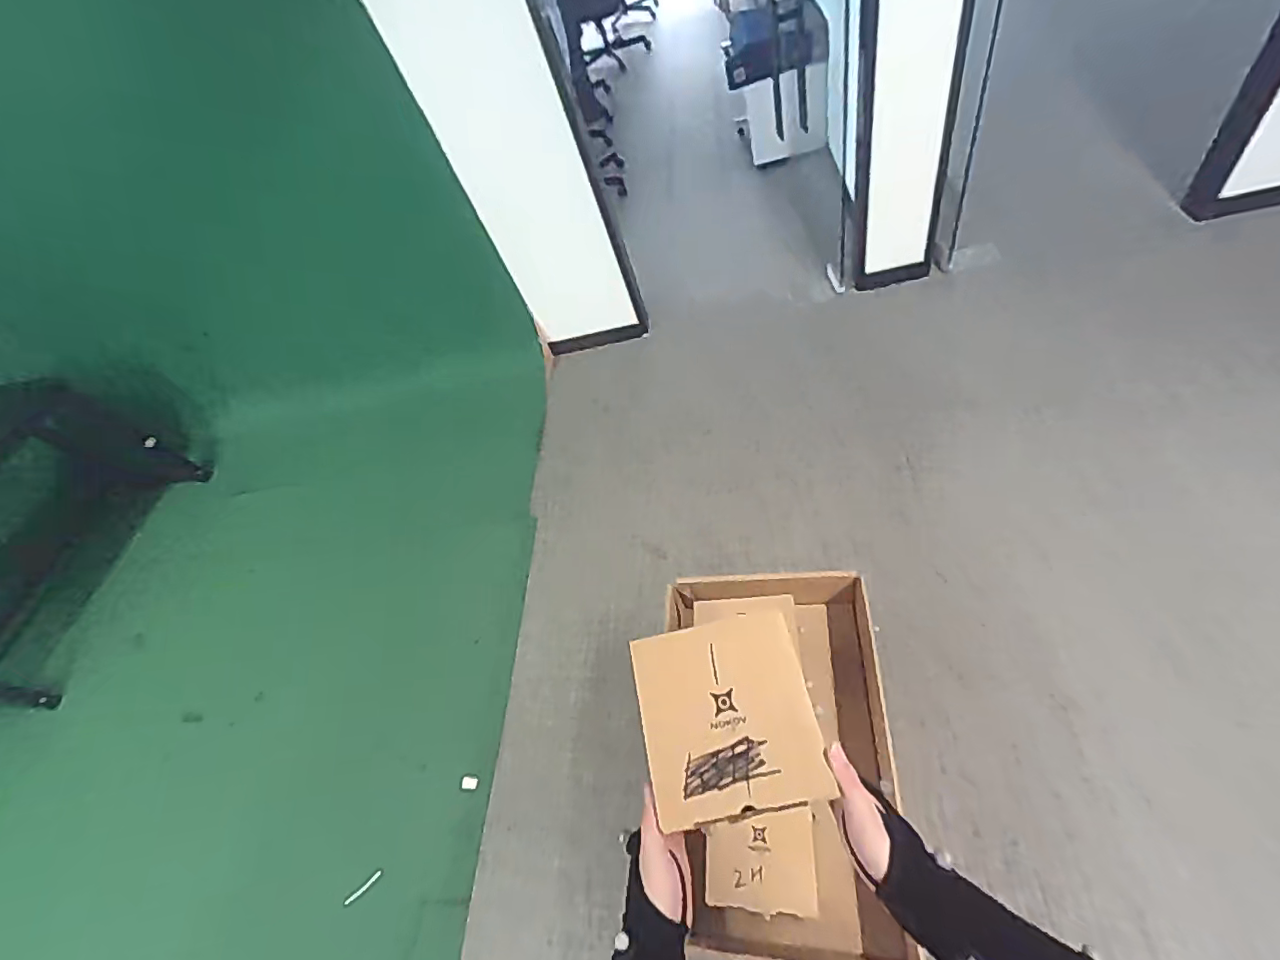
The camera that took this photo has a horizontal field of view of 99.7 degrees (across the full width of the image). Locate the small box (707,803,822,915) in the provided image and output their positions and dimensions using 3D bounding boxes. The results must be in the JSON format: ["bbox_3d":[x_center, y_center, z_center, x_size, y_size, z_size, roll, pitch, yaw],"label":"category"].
[{"bbox_3d":[0.209,0.599,0.898,0.168,0.176,0.179,-5,53,17],"label":"small box"}]

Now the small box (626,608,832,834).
[{"bbox_3d":[0.094,0.263,0.589,0.168,0.176,0.179,-15,58,4],"label":"small box"}]

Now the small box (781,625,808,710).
[{"bbox_3d":[0.234,0.393,1.046,0.168,0.176,0.179,-6,56,15],"label":"small box"}]
